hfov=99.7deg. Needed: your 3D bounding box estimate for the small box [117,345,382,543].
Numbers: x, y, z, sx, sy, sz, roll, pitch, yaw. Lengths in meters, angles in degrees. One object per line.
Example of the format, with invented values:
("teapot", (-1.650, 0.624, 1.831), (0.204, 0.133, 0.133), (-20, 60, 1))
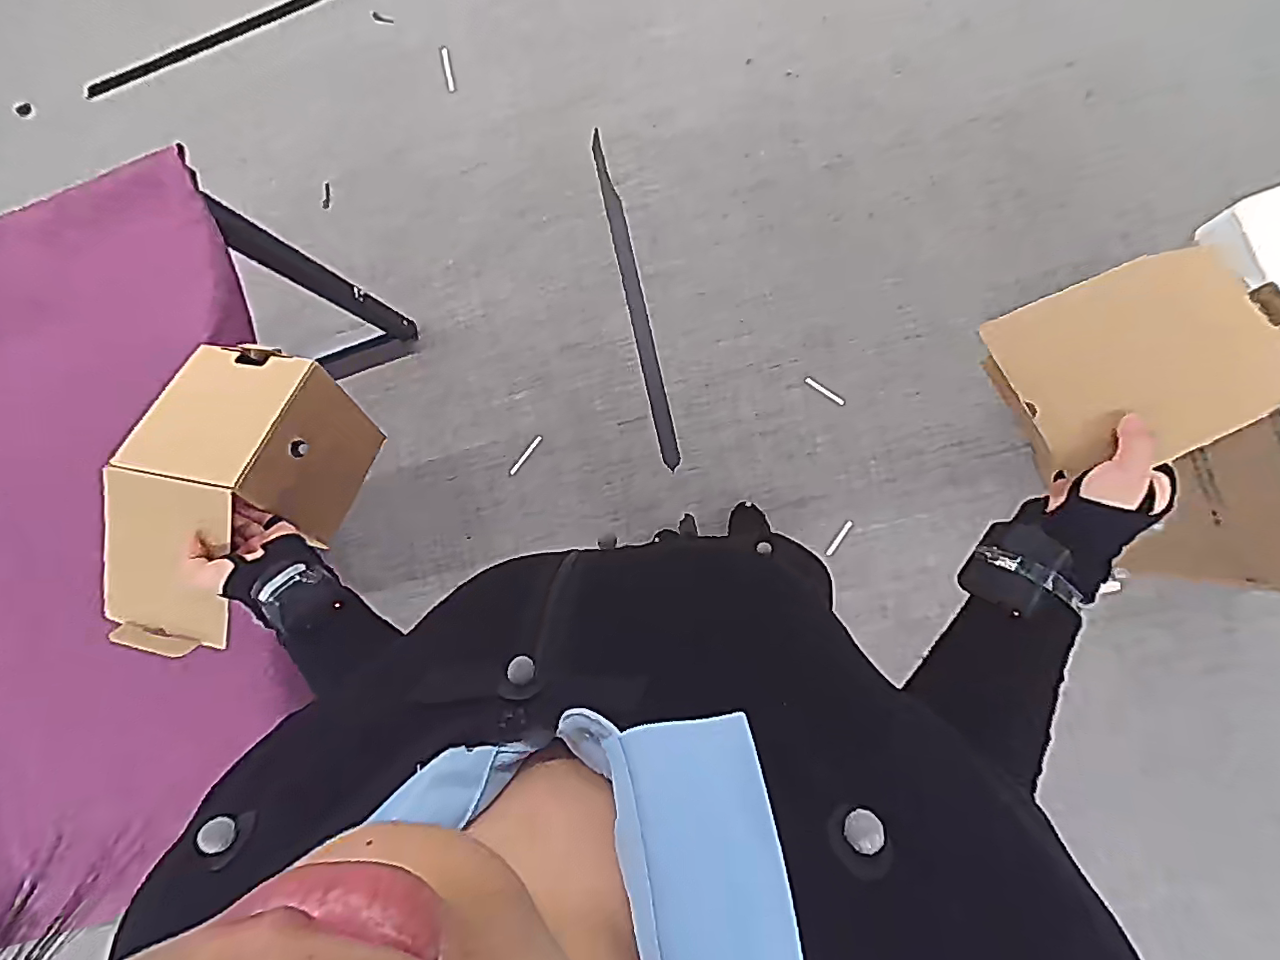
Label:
("small box", (-0.460, -0.039, 0.675), (0.168, 0.176, 0.179), (10, 62, 11))
